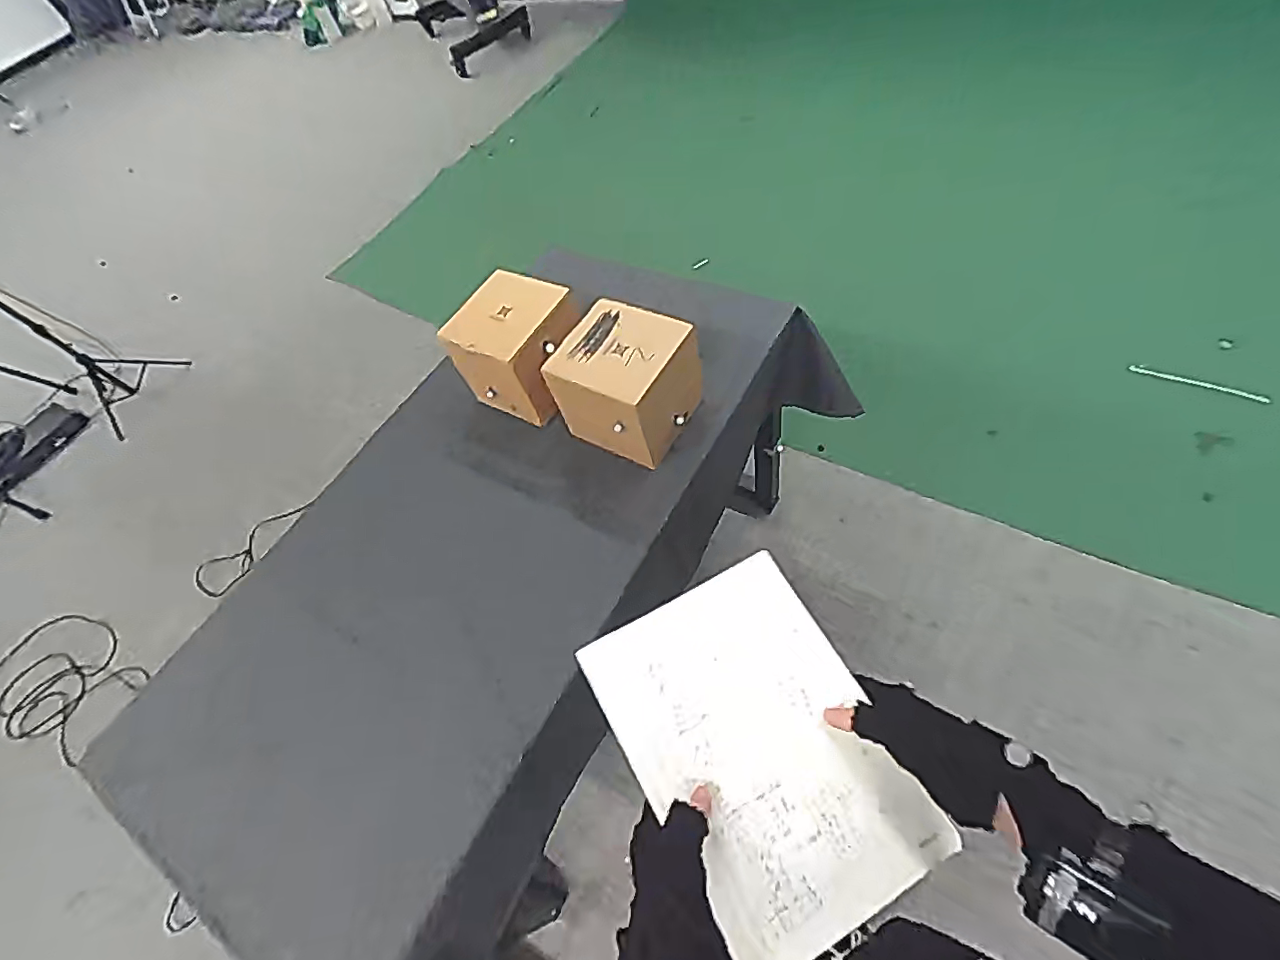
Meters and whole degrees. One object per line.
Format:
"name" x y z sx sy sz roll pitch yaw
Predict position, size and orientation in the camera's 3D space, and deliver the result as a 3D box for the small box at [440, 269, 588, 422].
"small box" -0.210 -0.237 0.963 0.168 0.176 0.179 23 68 24
